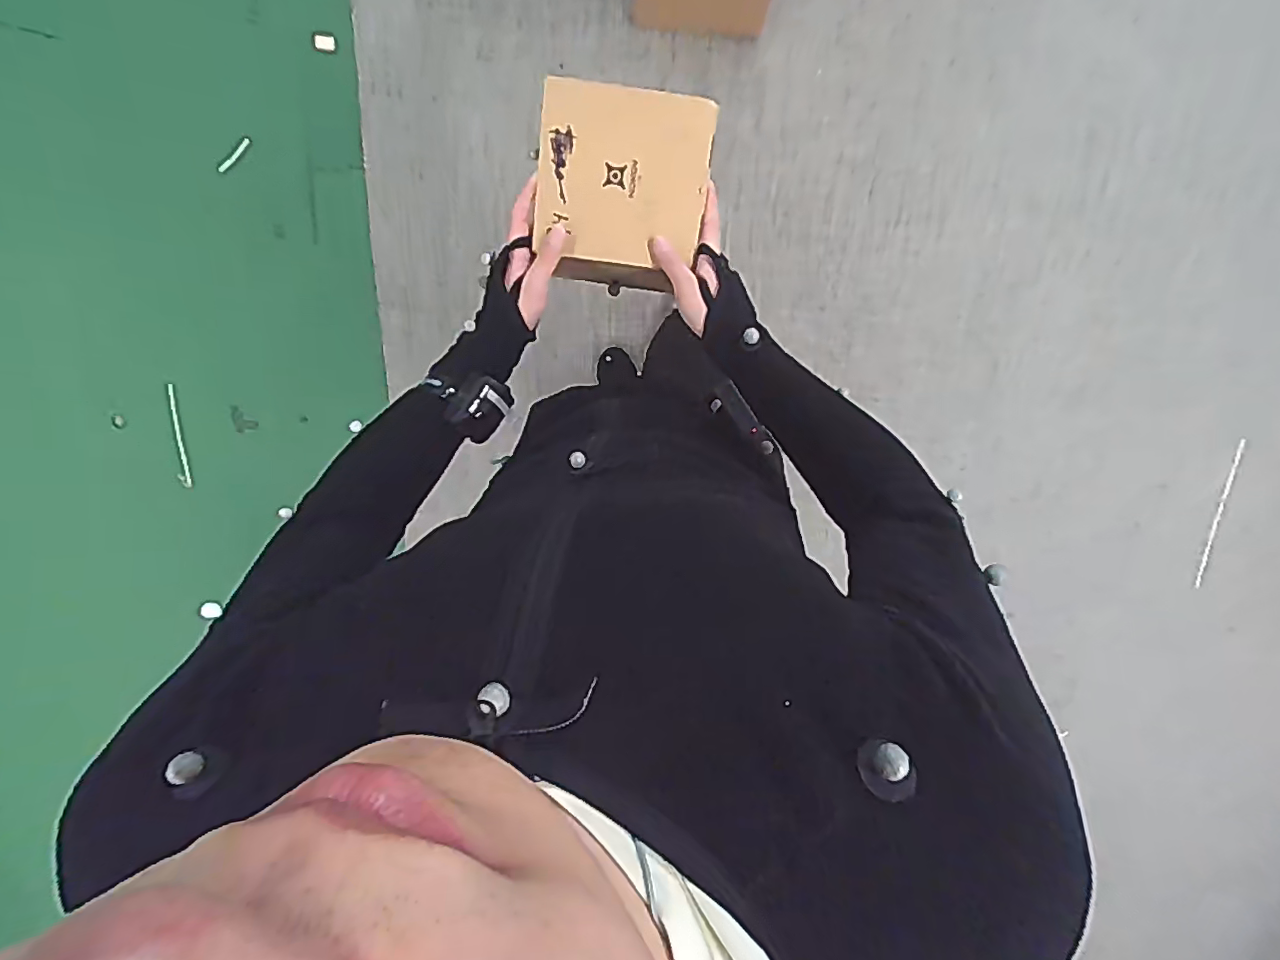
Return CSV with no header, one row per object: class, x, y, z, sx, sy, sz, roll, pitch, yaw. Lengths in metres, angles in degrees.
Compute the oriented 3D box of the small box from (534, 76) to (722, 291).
small box,-0.018,-0.321,0.625,0.179,0.176,0.168,6,102,-4
